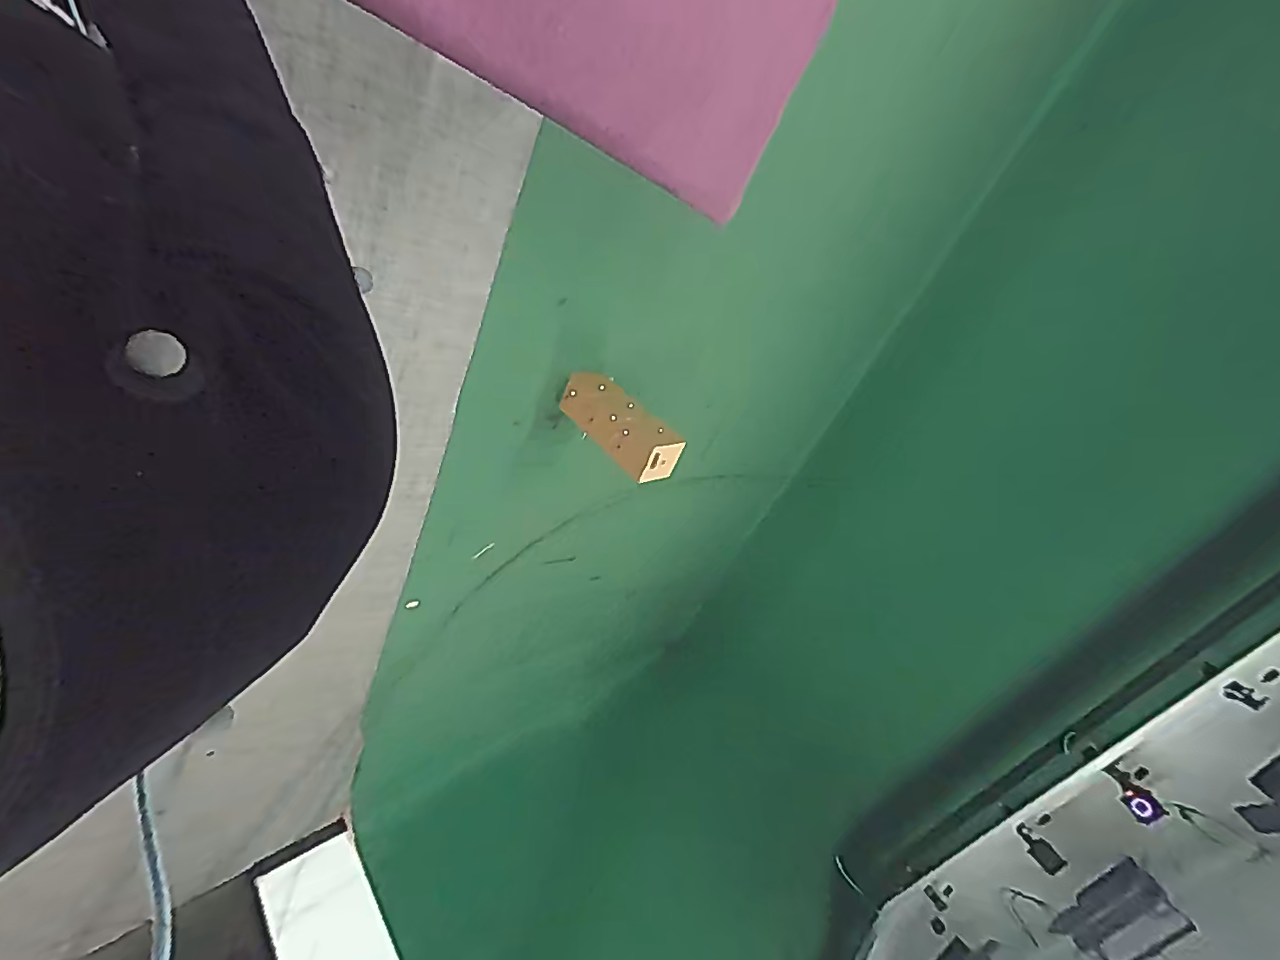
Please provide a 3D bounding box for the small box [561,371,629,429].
[{"bbox_3d":[-0.181,-0.318,2.149,0.179,0.176,0.168,-6,131,-48],"label":"small box"}]

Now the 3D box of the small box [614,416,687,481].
[{"bbox_3d":[0.034,-0.121,1.995,0.179,0.176,0.168,-13,137,-45],"label":"small box"}]
